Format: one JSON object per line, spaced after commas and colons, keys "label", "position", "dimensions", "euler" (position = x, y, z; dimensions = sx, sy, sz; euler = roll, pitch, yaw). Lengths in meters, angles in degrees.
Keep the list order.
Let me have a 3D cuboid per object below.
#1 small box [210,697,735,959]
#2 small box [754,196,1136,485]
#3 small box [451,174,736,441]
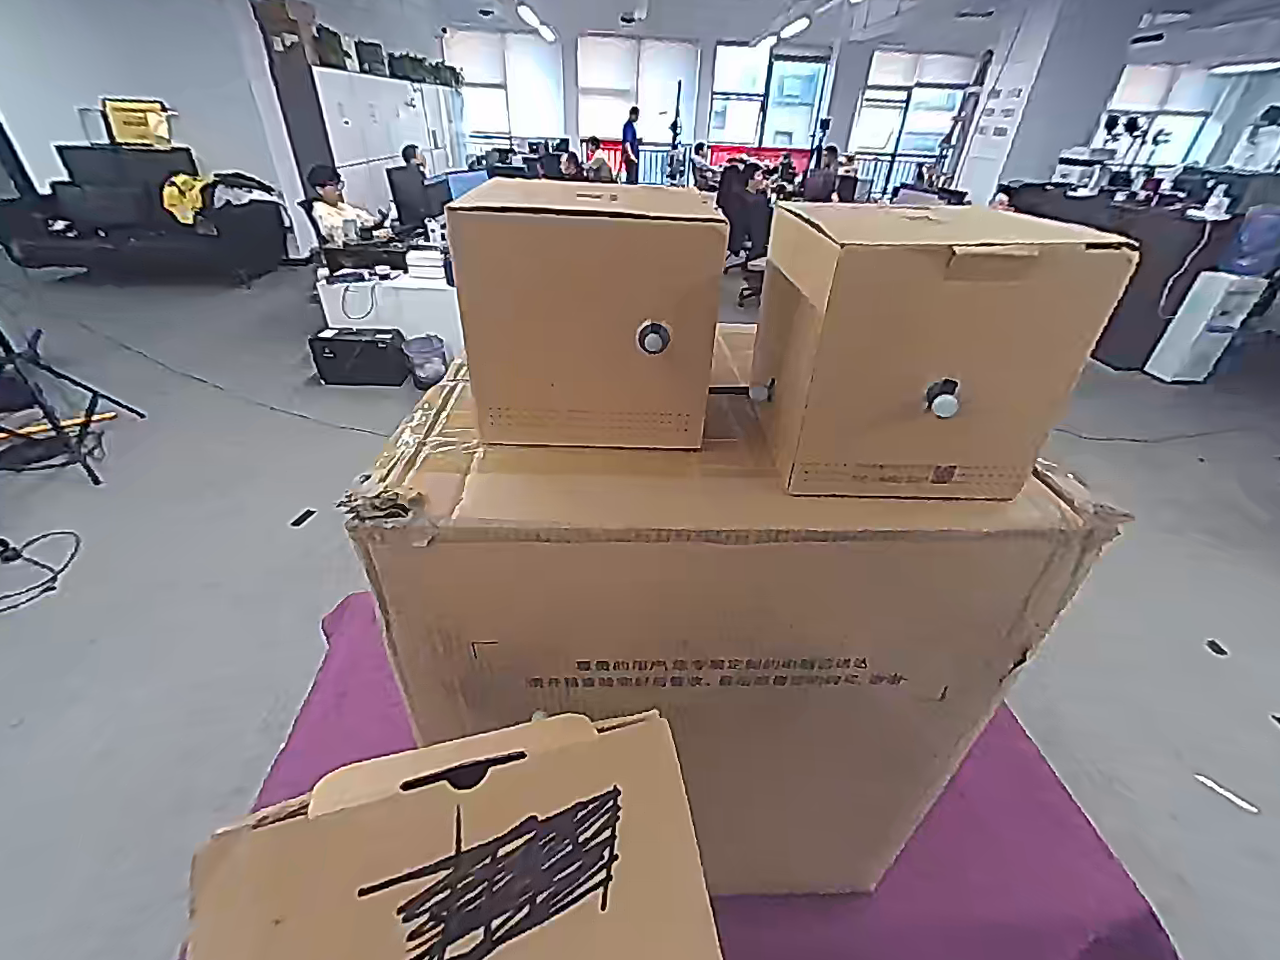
{"label": "small box", "position": [-0.067, 0.213, 0.240], "dimensions": [0.168, 0.176, 0.179], "euler": [-6, 67, -22]}
{"label": "small box", "position": [0.189, -0.108, 0.405], "dimensions": [0.168, 0.176, 0.179], "euler": [1, 34, -1]}
{"label": "small box", "position": [-0.033, -0.141, 0.437], "dimensions": [0.179, 0.176, 0.168], "euler": [0, 33, -3]}
